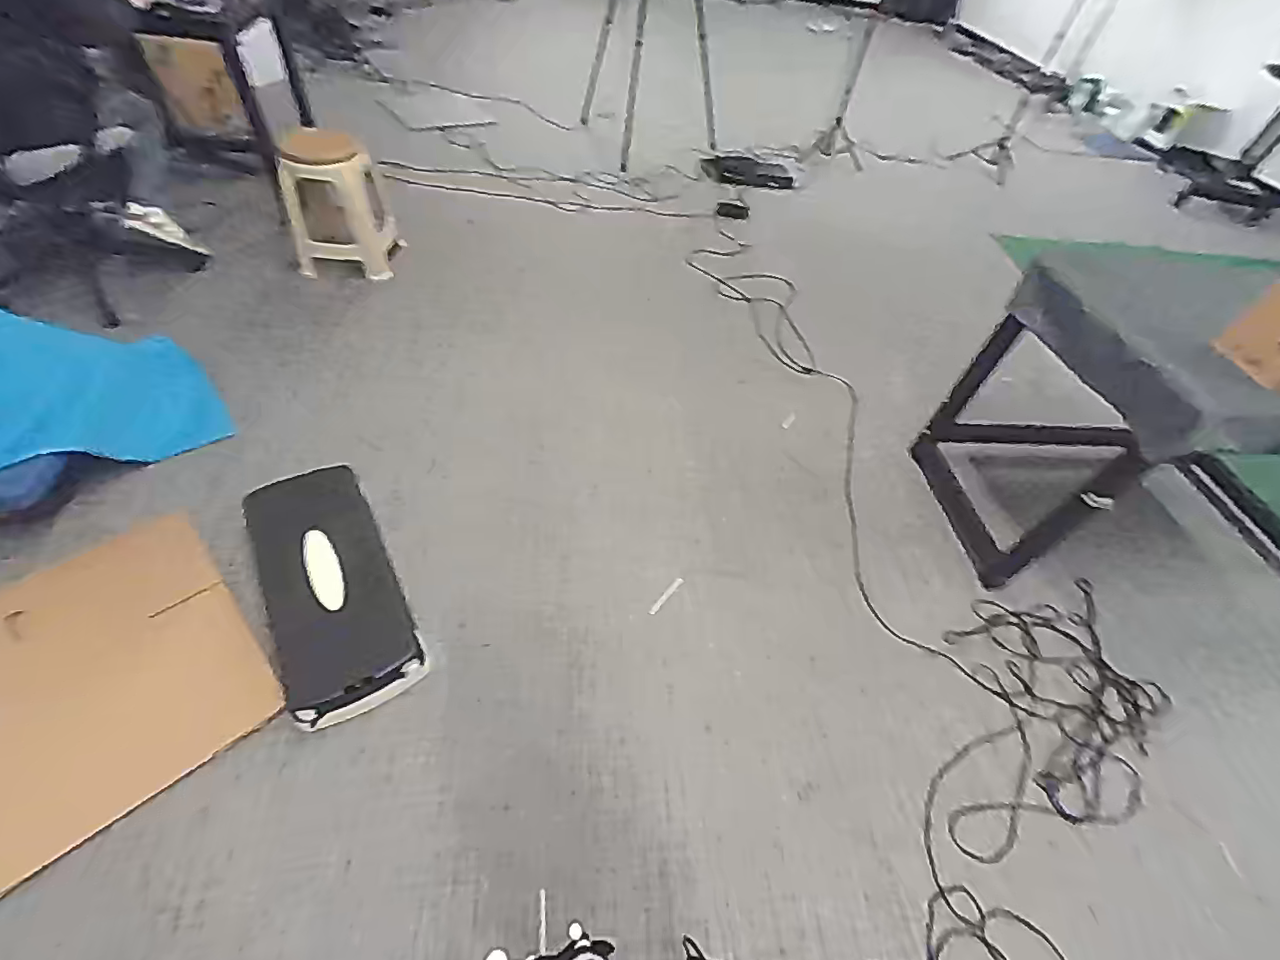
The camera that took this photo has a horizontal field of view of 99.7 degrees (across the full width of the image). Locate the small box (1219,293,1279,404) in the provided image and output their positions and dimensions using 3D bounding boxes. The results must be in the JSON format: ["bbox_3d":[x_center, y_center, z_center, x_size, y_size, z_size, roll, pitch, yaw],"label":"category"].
[{"bbox_3d":[1.377,-0.265,1.116,0.179,0.176,0.168,3,50,-8],"label":"small box"}]
